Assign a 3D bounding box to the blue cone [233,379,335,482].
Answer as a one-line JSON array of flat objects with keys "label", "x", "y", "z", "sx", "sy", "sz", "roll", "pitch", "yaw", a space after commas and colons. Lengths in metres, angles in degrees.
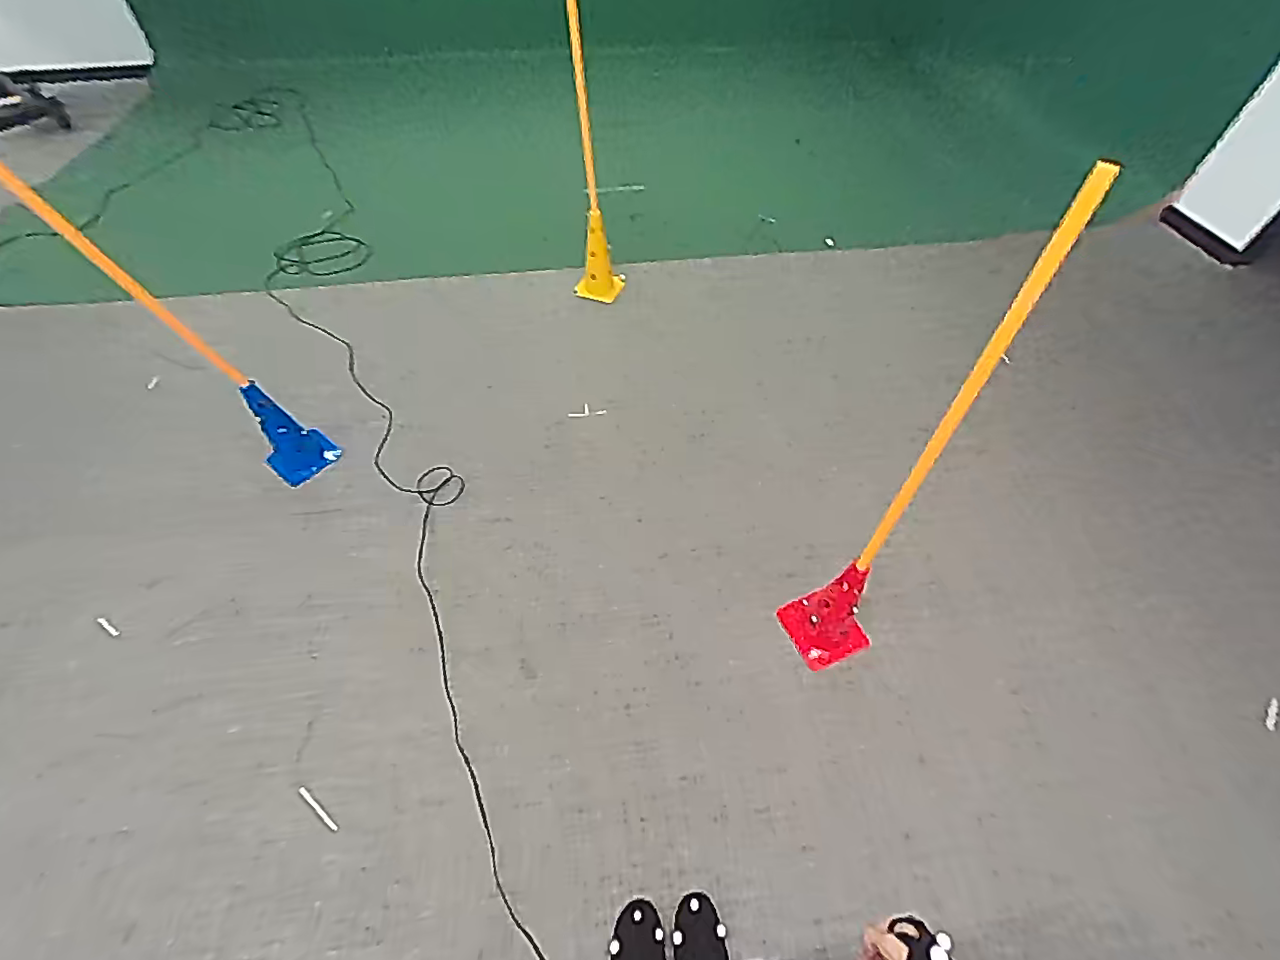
[{"label": "blue cone", "x": -1.190, "y": -0.179, "z": 1.762, "sx": 0.192, "sy": 0.380, "sz": 0.193, "roll": 32, "pitch": 61, "yaw": 21}]
